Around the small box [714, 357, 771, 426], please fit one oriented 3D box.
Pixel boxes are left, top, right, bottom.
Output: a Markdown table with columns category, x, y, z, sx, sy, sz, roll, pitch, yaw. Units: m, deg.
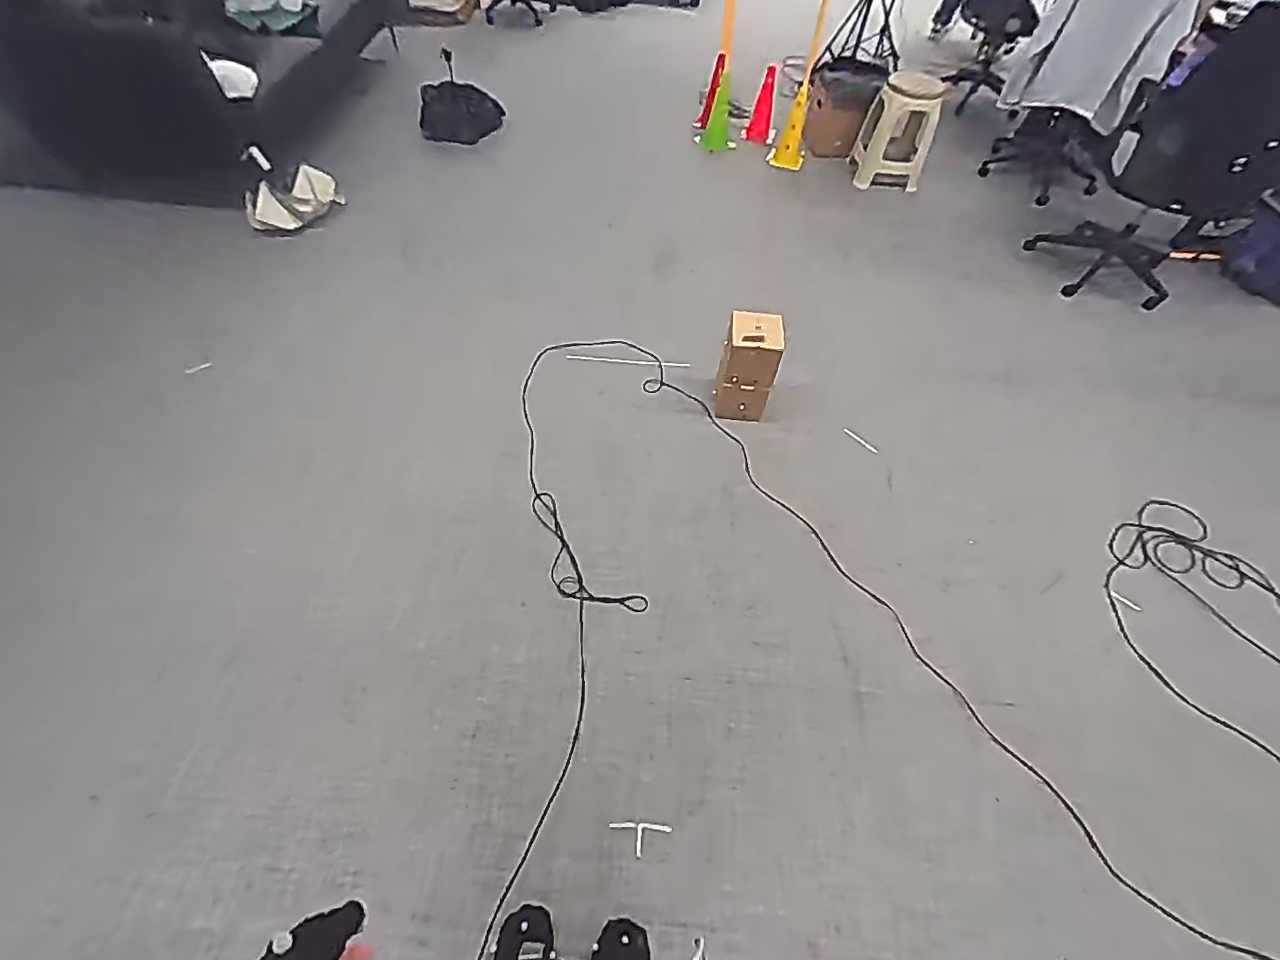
| category | x | y | z | sx | sy | sz | roll | pitch | yaw |
| --- | --- | --- | --- | --- | --- | --- | --- | --- | --- |
| small box | 0.362 | -0.314 | 1.939 | 0.168 | 0.176 | 0.179 | 5 | 56 | -4 |

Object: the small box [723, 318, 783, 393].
| category | x | y | z | sx | sy | sz | roll | pitch | yaw |
| --- | --- | --- | --- | --- | --- | --- | --- | --- | --- |
| small box | 0.375 | -0.413 | 1.805 | 0.168 | 0.176 | 0.179 | 6 | 54 | 1 |
